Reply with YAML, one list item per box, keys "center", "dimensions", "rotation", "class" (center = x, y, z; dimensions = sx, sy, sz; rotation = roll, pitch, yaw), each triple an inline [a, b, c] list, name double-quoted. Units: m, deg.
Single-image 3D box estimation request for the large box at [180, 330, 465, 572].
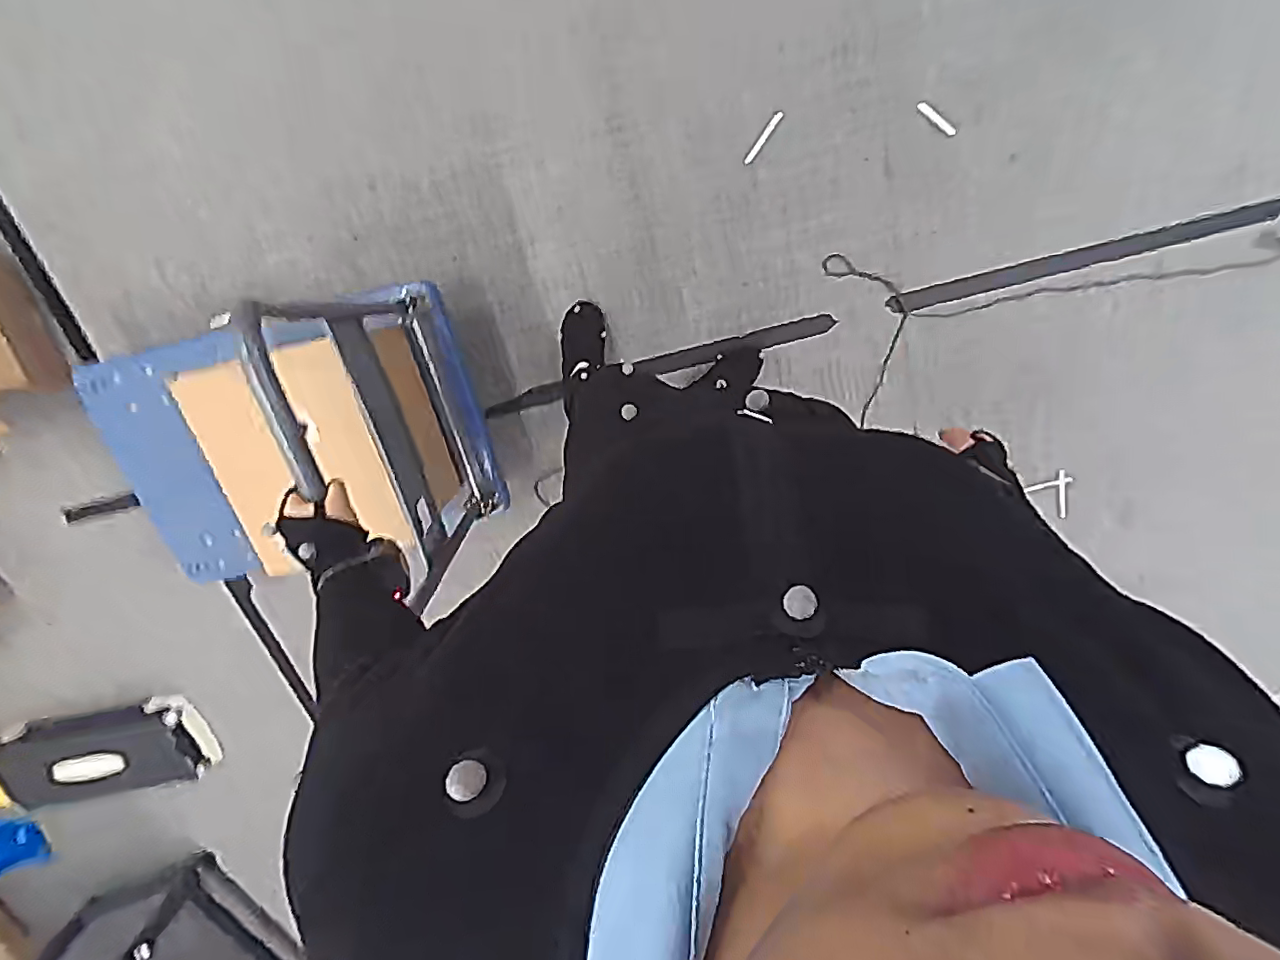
- center: [-0.625, -0.076, 1.152]
  dimensions: [0.320, 0.320, 0.408]
  rotation: [-14, 108, 3]
  class: "large box"
